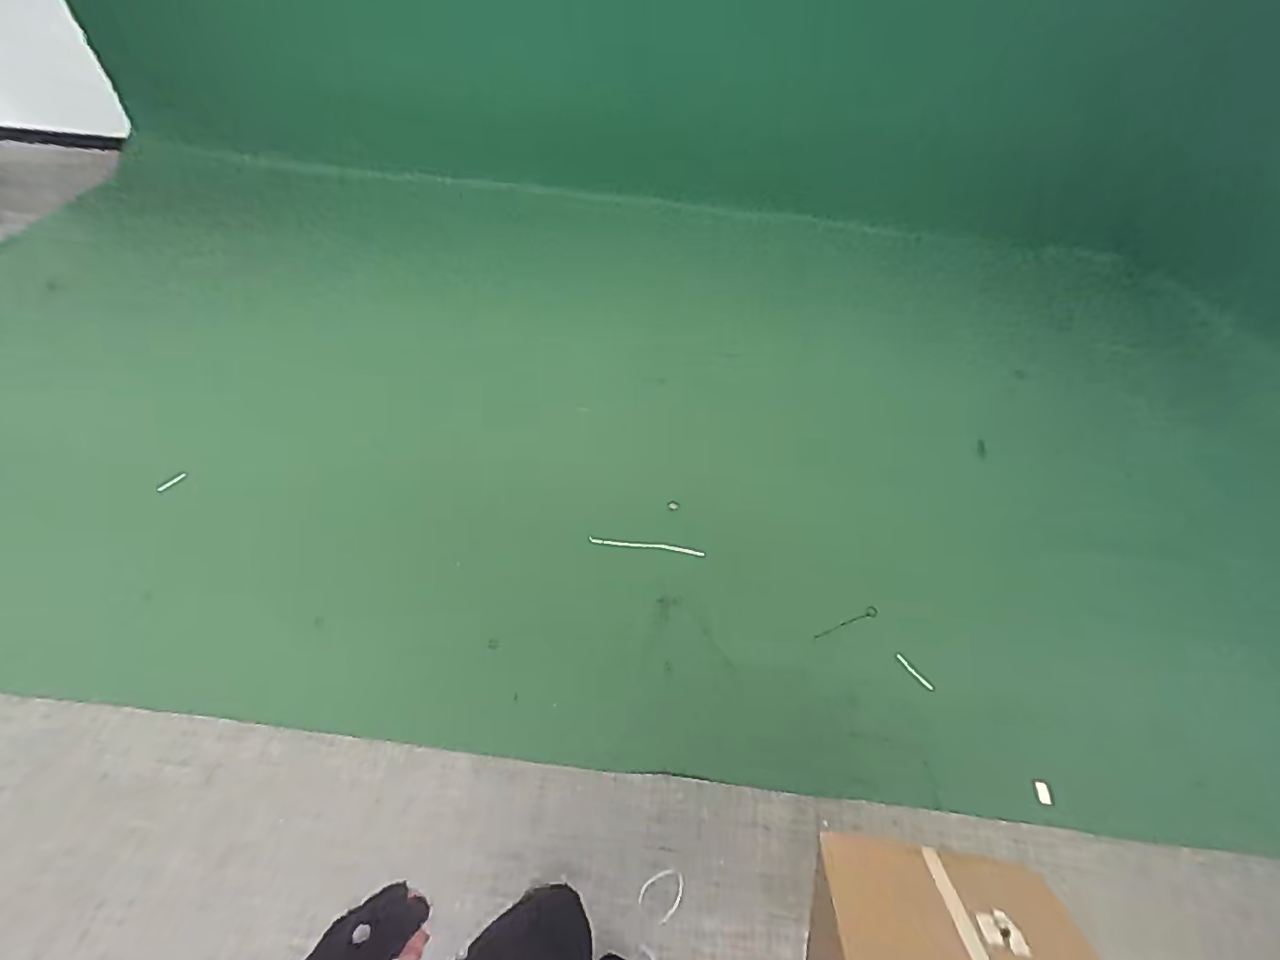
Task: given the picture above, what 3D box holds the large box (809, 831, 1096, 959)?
[{"bbox_3d":[0.390,0.727,0.644,0.320,0.320,0.408,6,6,10],"label":"large box"}]
